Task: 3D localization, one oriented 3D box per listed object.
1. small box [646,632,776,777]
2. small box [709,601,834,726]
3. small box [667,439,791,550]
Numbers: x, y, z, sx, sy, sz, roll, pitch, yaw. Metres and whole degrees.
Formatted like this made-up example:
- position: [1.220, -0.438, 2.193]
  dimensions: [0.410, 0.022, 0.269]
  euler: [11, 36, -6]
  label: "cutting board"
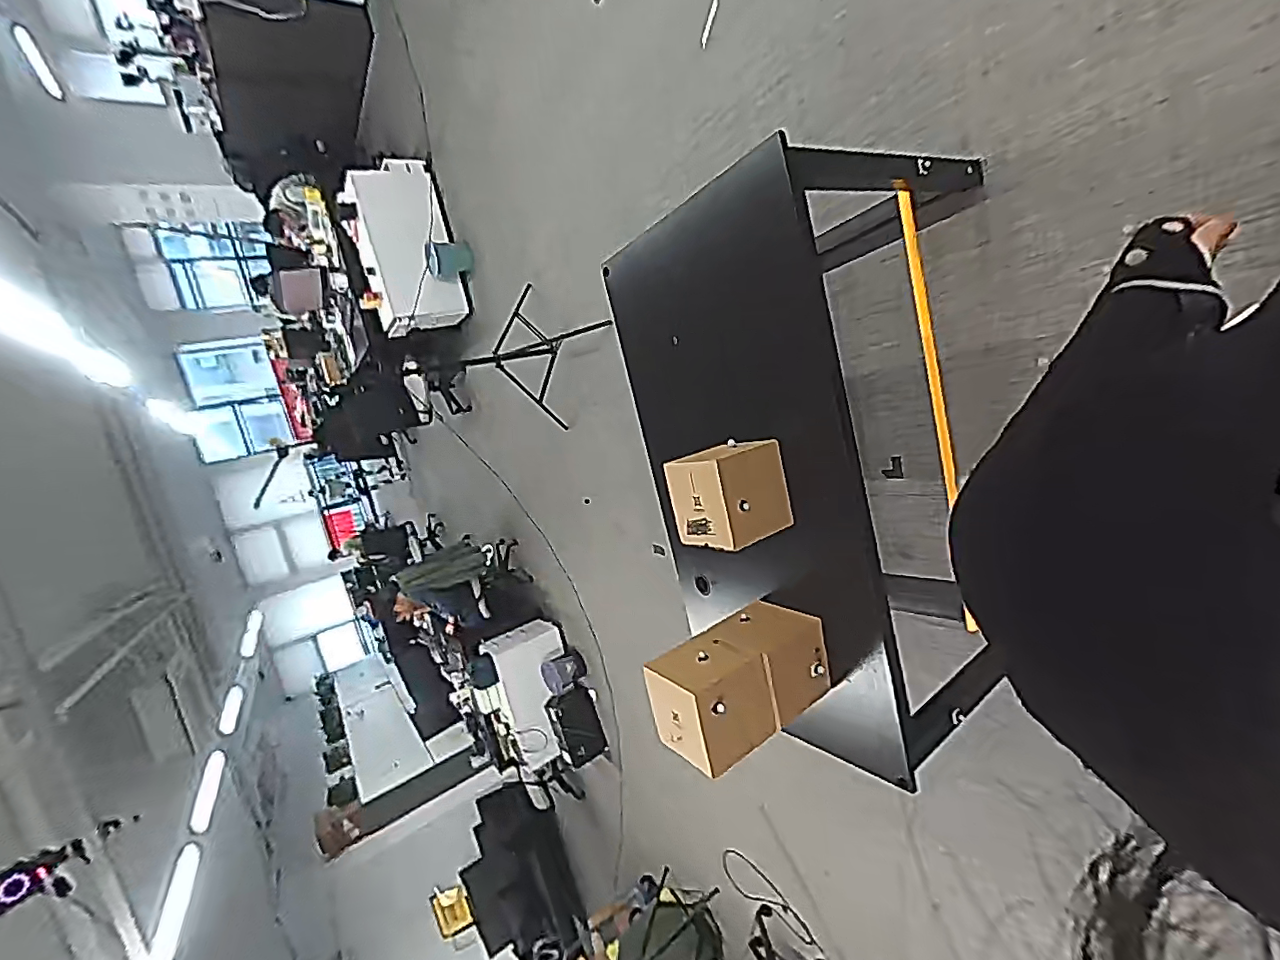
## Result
- position: [0.140, 0.423, 1.055]
  dimensions: [0.168, 0.176, 0.179]
  euler: [3, 110, 57]
  label: "small box"
- position: [0.276, 0.372, 1.135]
  dimensions: [0.179, 0.176, 0.168]
  euler: [2, 109, 56]
  label: "small box"
- position: [0.183, 0.025, 1.091]
  dimensions: [0.168, 0.176, 0.179]
  euler: [-1, 104, 57]
  label: "small box"
